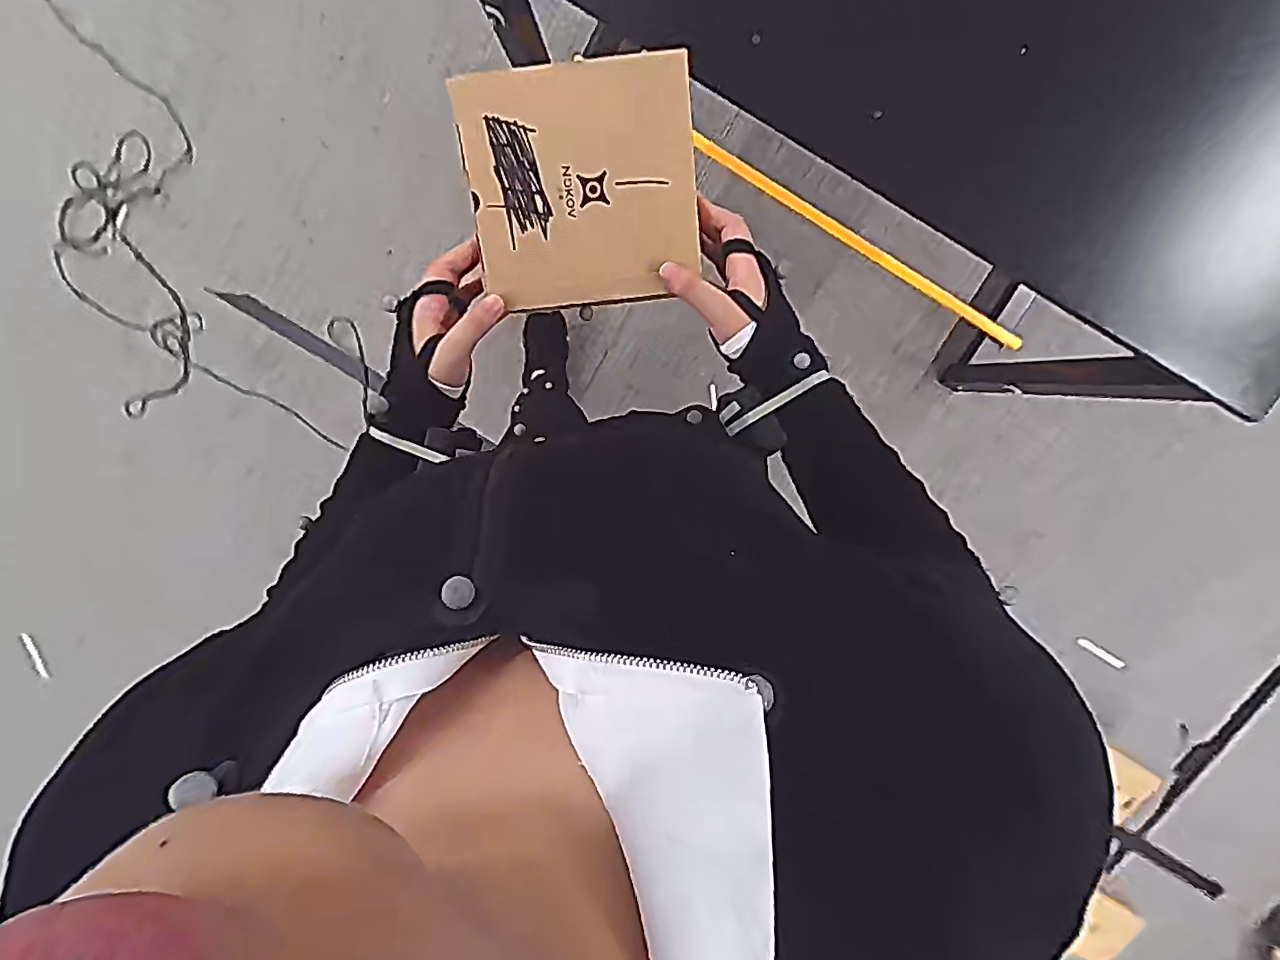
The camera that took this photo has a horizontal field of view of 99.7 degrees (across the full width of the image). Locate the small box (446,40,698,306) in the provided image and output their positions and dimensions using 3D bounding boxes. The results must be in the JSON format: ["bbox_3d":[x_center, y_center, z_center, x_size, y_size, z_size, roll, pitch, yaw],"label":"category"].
[{"bbox_3d":[-0.047,-0.247,0.479,0.179,0.176,0.168,-5,108,0],"label":"small box"}]

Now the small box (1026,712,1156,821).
[{"bbox_3d":[1.216,0.769,1.476,0.179,0.176,0.168,33,100,-3],"label":"small box"}]

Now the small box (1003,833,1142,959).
[{"bbox_3d":[1.083,1.047,1.370,0.179,0.176,0.168,31,100,-2],"label":"small box"}]
